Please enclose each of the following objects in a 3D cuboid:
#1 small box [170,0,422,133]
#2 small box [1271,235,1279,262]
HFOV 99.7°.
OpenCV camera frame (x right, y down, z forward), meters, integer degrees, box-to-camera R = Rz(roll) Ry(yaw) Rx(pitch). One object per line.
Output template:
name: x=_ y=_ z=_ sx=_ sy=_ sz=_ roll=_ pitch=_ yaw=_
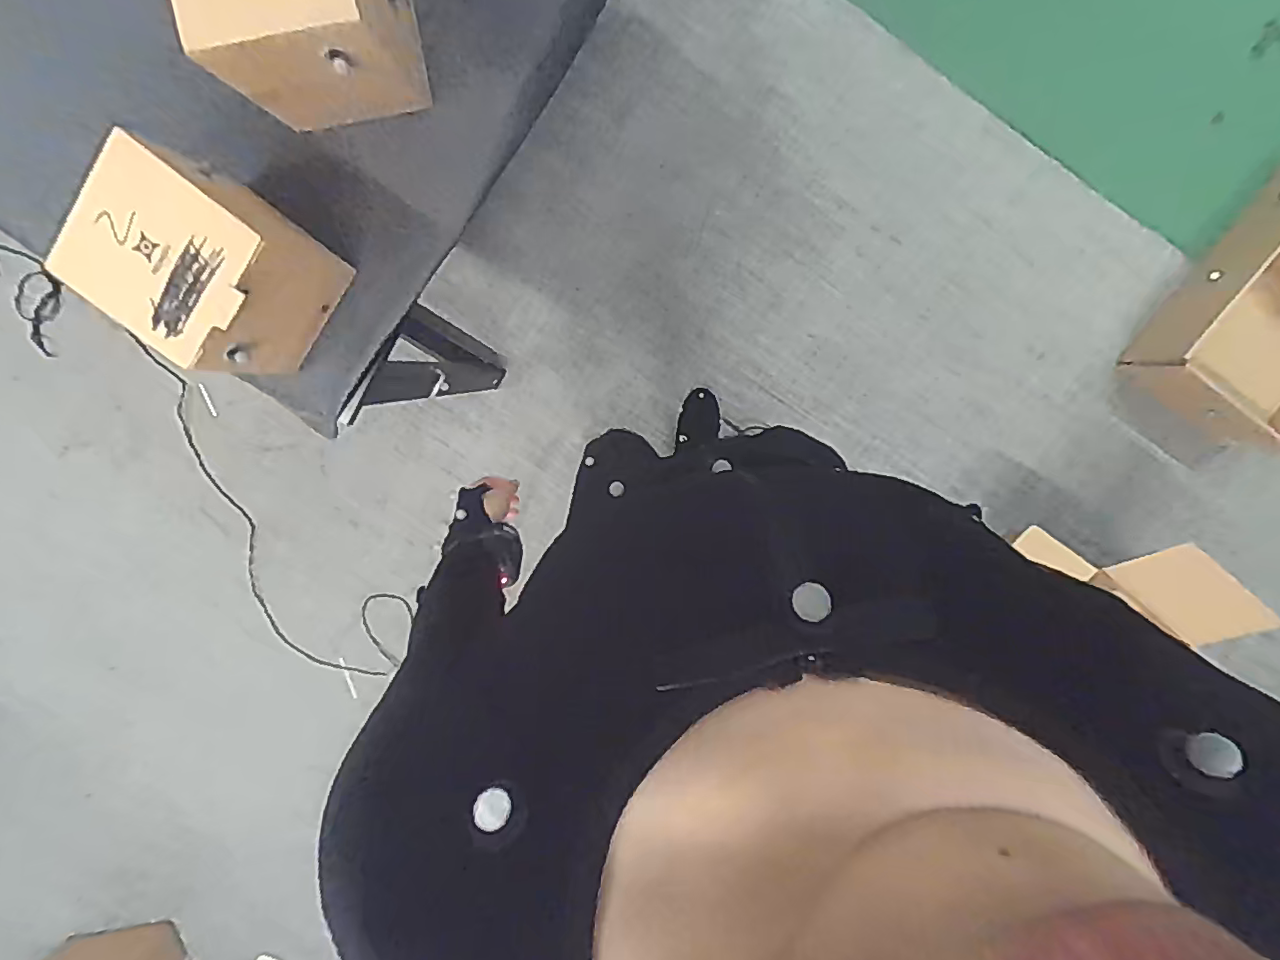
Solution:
small box: x=-0.349 y=-0.498 z=0.566 sx=0.179 sy=0.176 sz=0.168 roll=-8 pitch=100 yaw=4
small box: x=1.597 y=-0.525 z=1.197 sx=0.168 sy=0.176 sz=0.179 roll=-41 pitch=98 yaw=9
